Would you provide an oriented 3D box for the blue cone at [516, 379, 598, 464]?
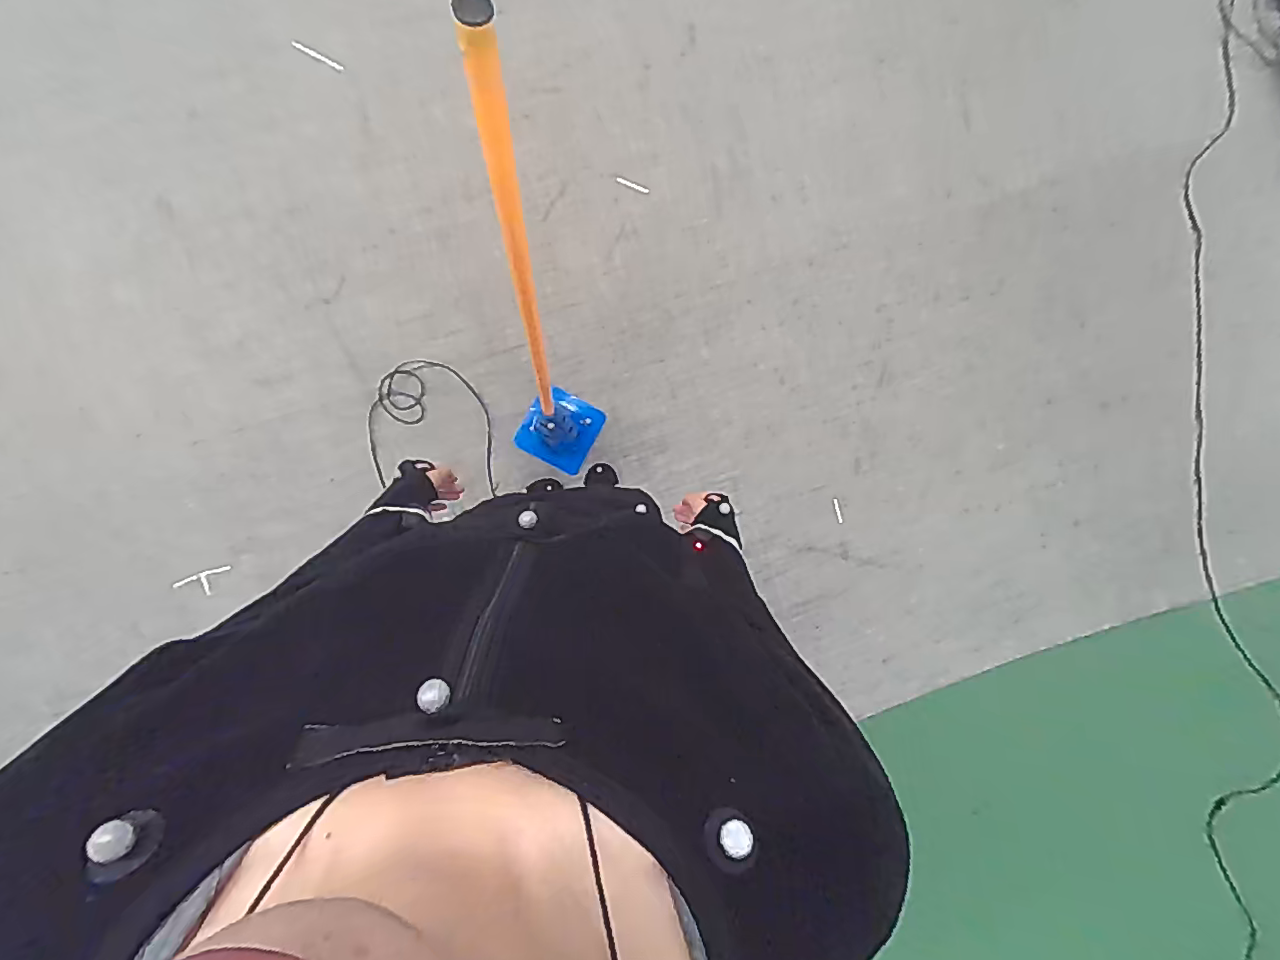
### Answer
[{"bbox_3d":[-0.210,-0.163,1.306,0.192,0.380,0.193,27,86,-4],"label":"blue cone"}]
